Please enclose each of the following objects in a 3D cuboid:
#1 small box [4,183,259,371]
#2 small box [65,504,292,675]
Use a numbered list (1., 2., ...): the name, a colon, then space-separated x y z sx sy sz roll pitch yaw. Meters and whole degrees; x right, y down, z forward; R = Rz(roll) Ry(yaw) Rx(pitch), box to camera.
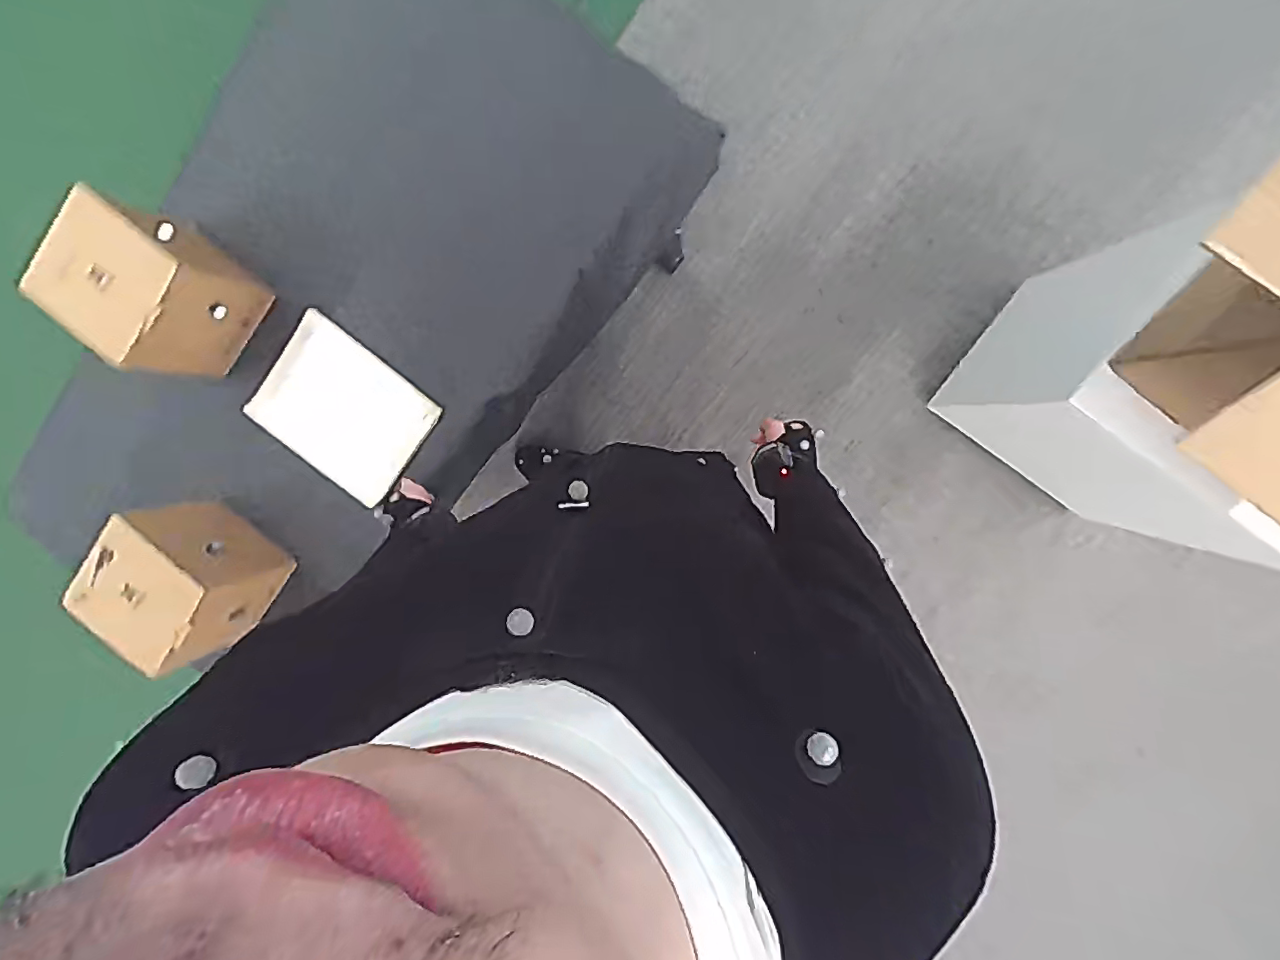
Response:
1. small box: -0.703 -0.270 0.770 0.179 0.176 0.168 38 98 0
2. small box: -0.693 0.154 0.835 0.179 0.176 0.168 38 98 0
